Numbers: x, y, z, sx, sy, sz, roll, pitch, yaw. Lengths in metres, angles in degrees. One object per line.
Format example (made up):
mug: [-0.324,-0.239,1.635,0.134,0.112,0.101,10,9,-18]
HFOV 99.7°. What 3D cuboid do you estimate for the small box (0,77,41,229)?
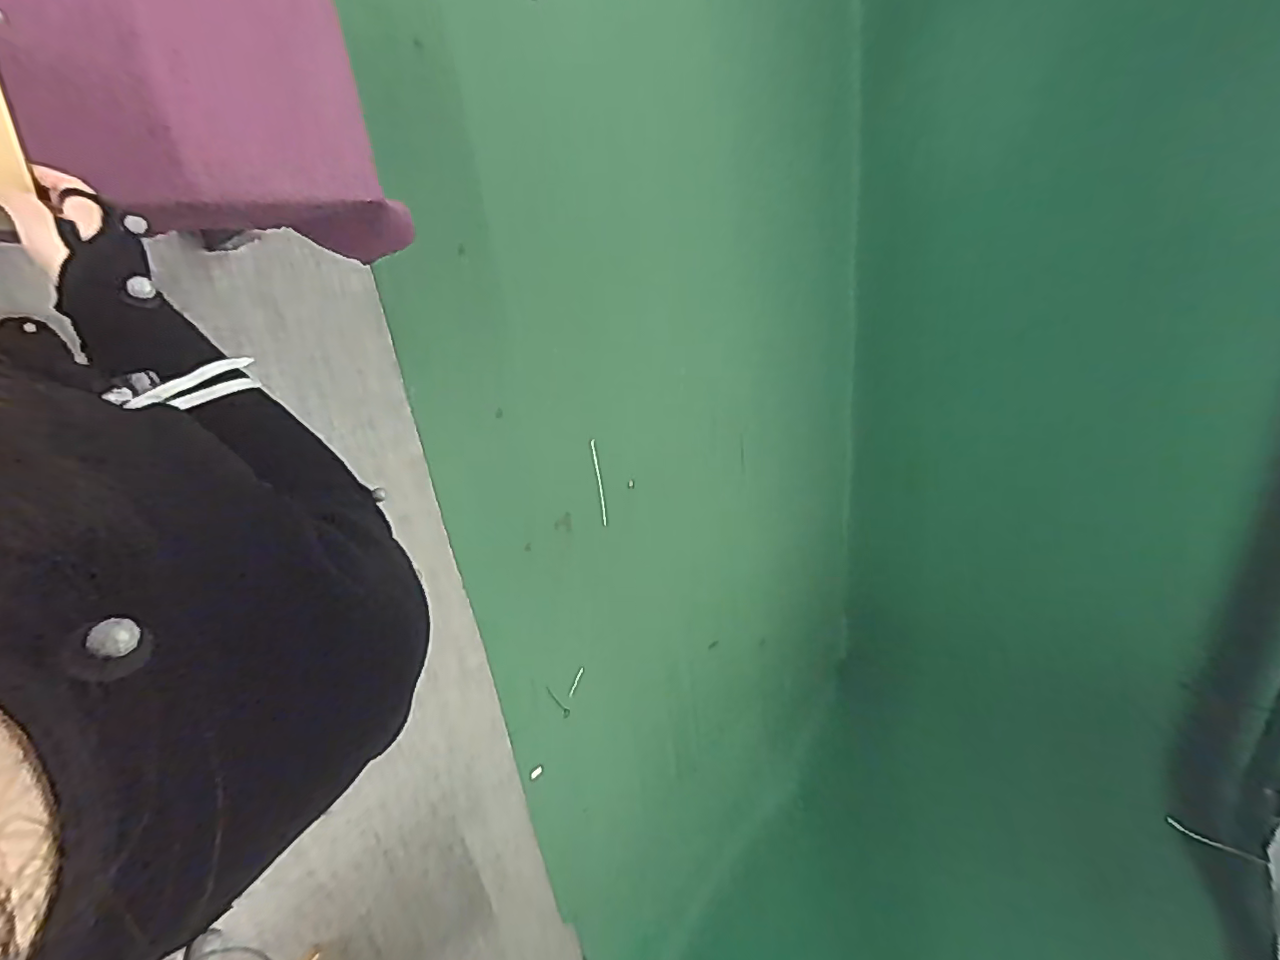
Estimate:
small box: [-0.573,-0.287,0.385,0.168,0.176,0.179,-20,113,-43]
